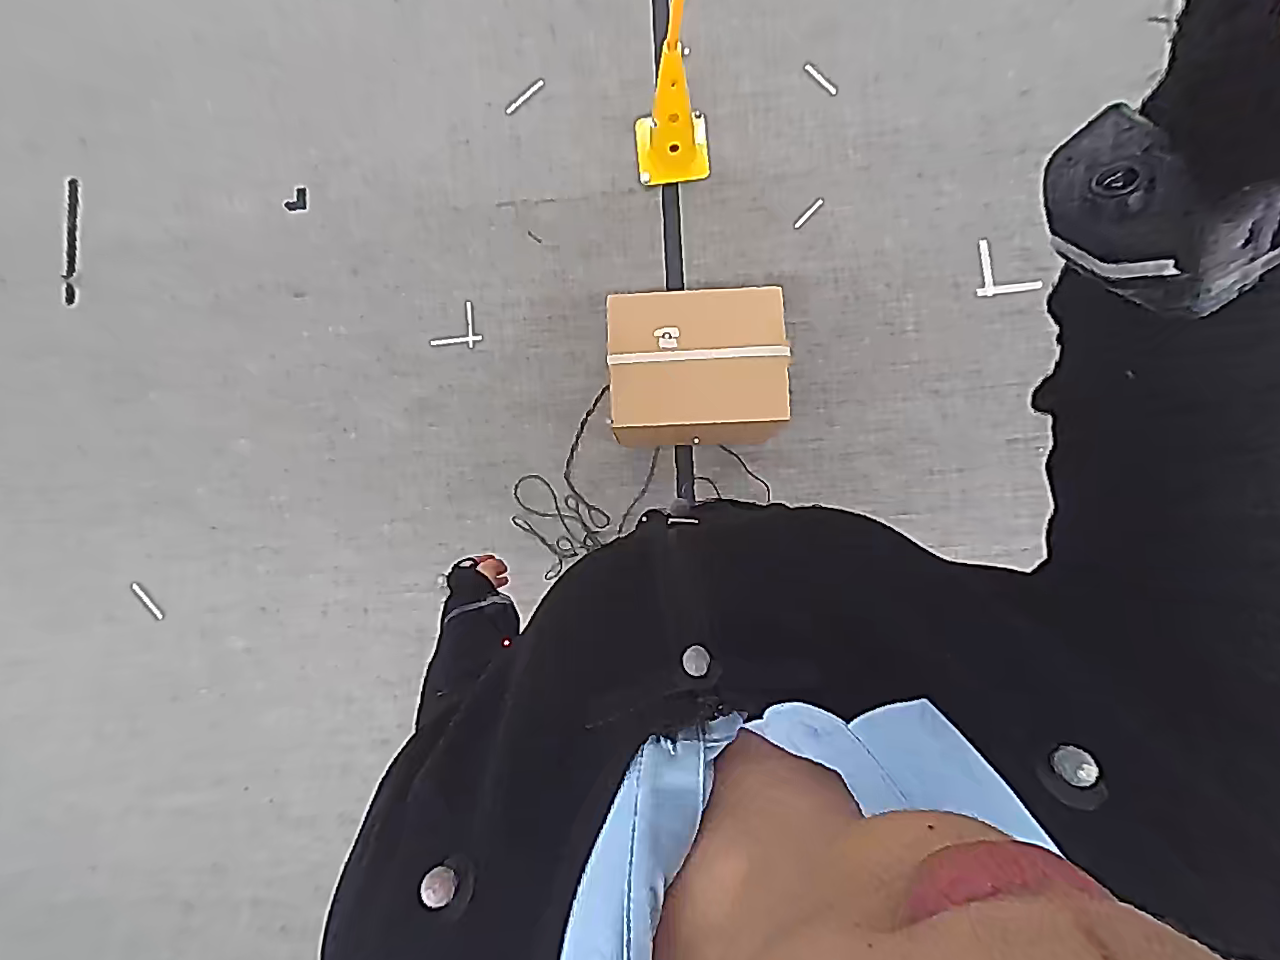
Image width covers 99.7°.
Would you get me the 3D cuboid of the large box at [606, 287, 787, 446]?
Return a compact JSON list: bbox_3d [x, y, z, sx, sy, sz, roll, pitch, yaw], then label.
[{"bbox_3d":[0.135,-0.267,1.384,0.408,0.320,0.320,-3,84,3],"label":"large box"}]
